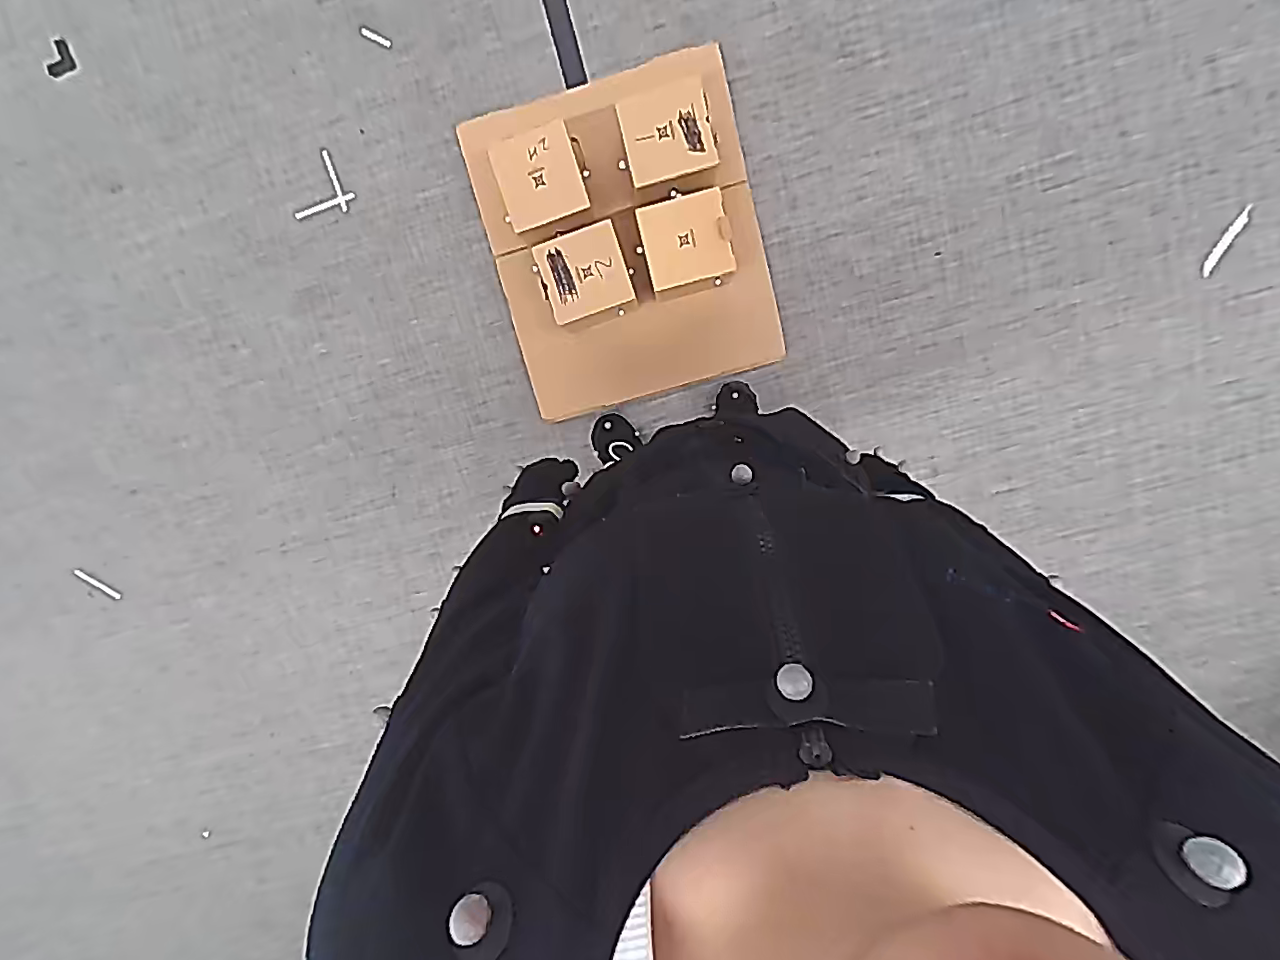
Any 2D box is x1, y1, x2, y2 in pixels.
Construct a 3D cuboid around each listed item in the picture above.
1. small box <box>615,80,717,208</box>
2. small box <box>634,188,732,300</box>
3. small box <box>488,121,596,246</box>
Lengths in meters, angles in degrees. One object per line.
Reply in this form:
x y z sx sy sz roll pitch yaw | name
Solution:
0.053 -0.695 1.142 0.179 0.176 0.168 -13 100 5 | small box
0.090 -0.501 1.174 0.179 0.176 0.168 -13 100 3 | small box
-0.201 -0.623 1.165 0.168 0.176 0.179 -17 100 5 | small box
